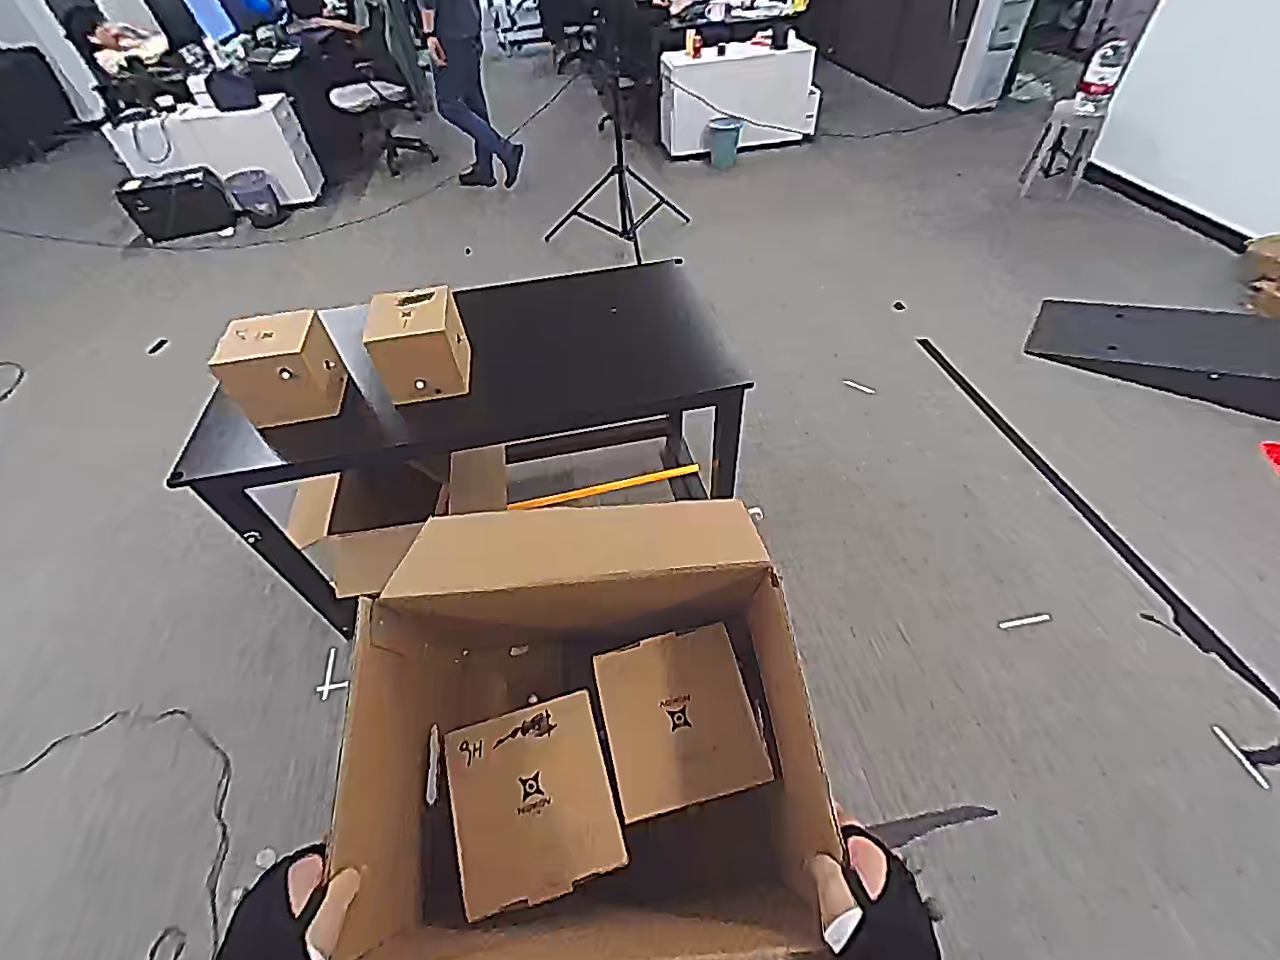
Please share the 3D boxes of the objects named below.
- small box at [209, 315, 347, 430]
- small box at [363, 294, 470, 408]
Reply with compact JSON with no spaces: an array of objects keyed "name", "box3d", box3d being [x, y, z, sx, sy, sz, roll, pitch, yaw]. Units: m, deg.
[{"name":"small box","box3d":[-0.761,-0.229,1.162,0.179,0.176,0.168,-11,48,-6]},{"name":"small box","box3d":[-0.483,-0.285,1.195,0.168,0.176,0.179,-10,49,-5]}]
